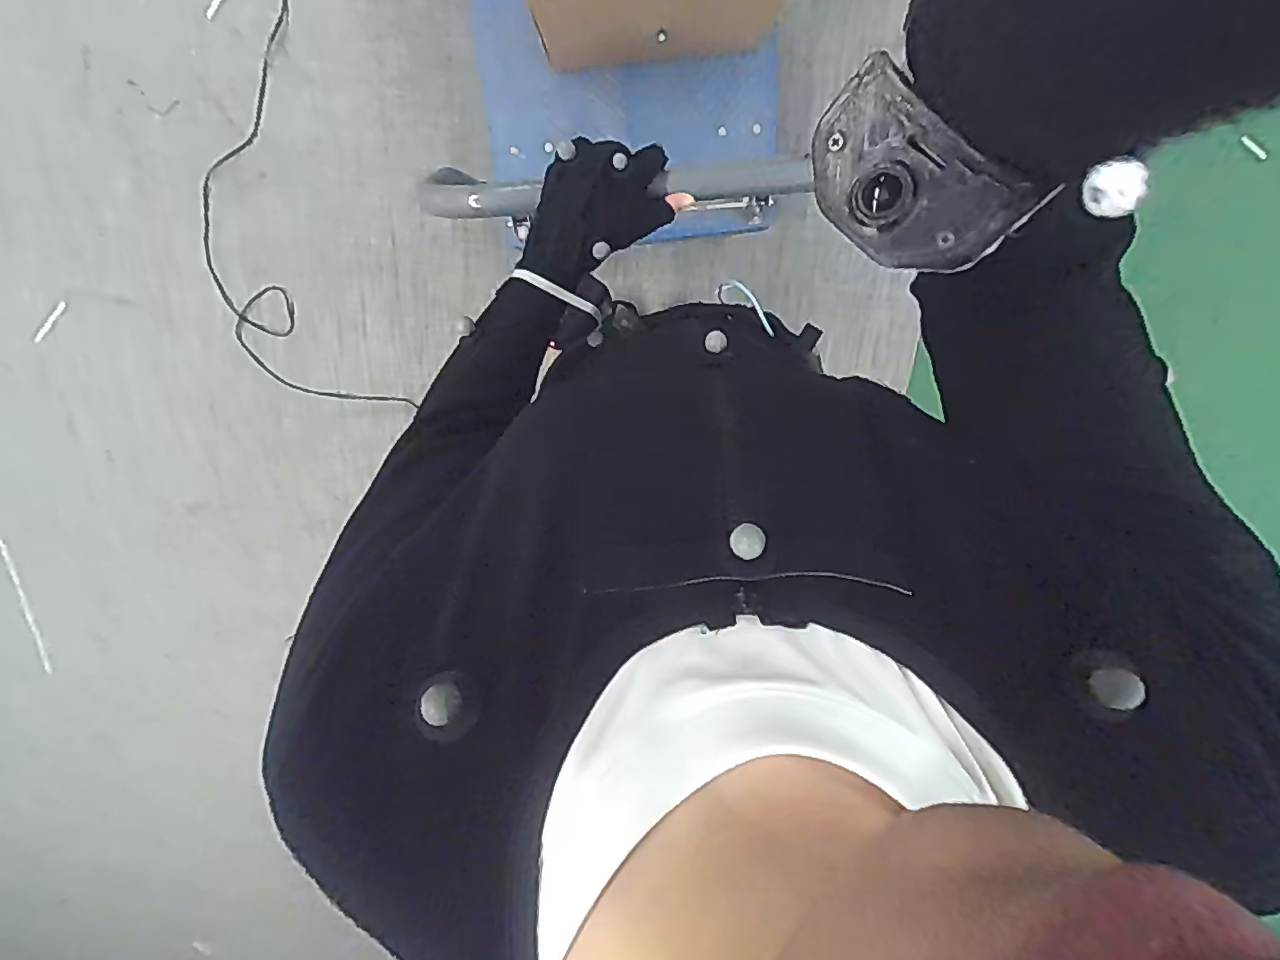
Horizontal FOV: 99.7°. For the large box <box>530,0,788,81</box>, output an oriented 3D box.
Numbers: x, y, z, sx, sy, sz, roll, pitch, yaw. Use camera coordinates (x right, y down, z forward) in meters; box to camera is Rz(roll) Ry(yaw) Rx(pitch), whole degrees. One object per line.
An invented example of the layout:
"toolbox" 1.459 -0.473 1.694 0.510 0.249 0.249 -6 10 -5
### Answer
"large box" 0.025 -0.902 0.878 0.408 0.320 0.320 -5 108 3
